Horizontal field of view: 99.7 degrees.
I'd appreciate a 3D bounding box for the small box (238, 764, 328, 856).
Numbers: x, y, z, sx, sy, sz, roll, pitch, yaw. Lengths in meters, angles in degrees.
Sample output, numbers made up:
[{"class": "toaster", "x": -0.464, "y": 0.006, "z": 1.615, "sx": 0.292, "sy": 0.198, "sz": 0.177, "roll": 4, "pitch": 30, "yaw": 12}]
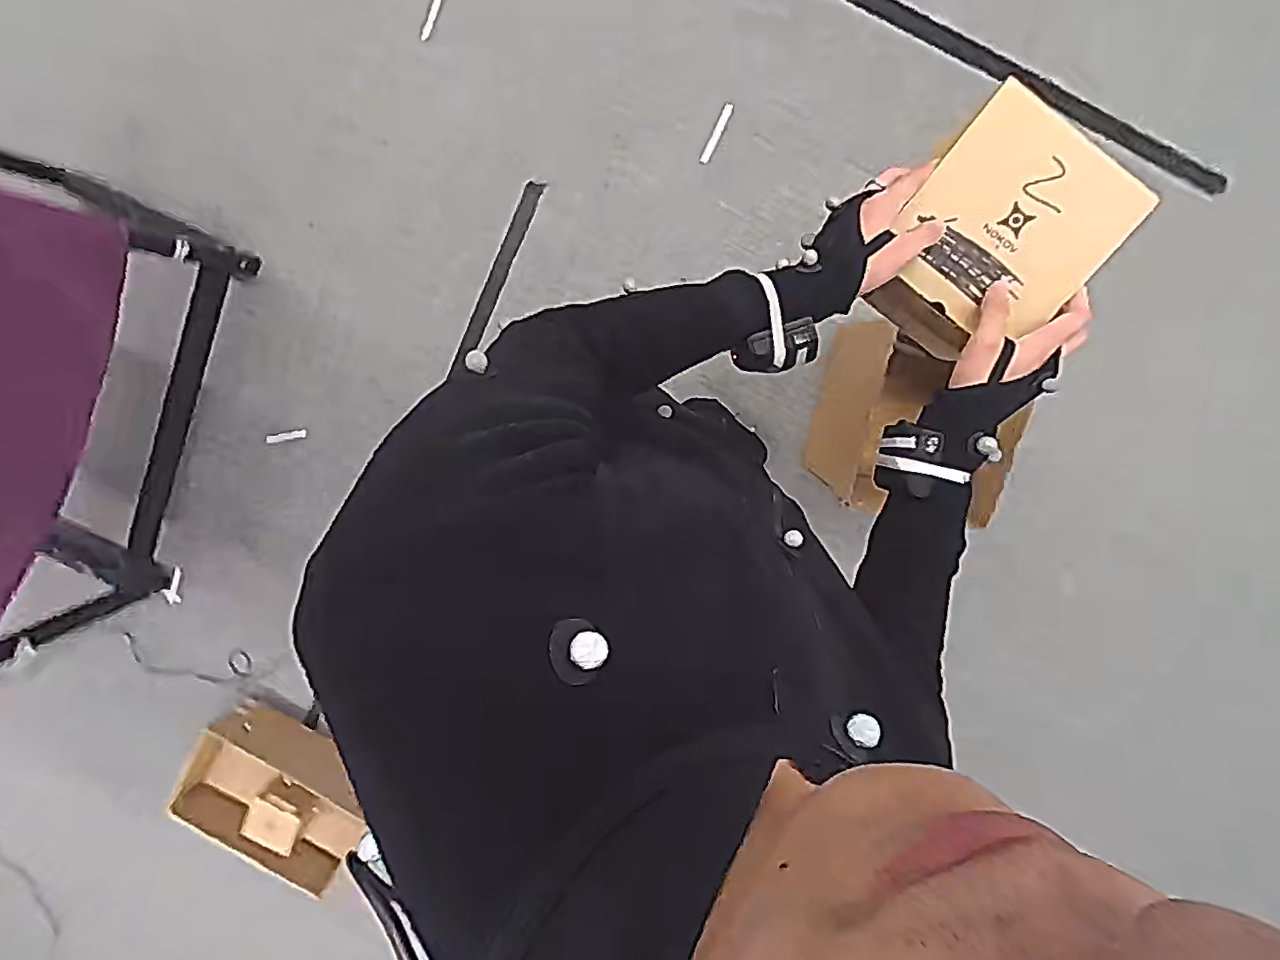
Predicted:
[{"class": "small box", "x": -1.198, "y": 1.107, "z": 1.828, "sx": 0.168, "sy": 0.176, "sz": 0.179, "roll": 28, "pitch": 103, "yaw": -1}]
